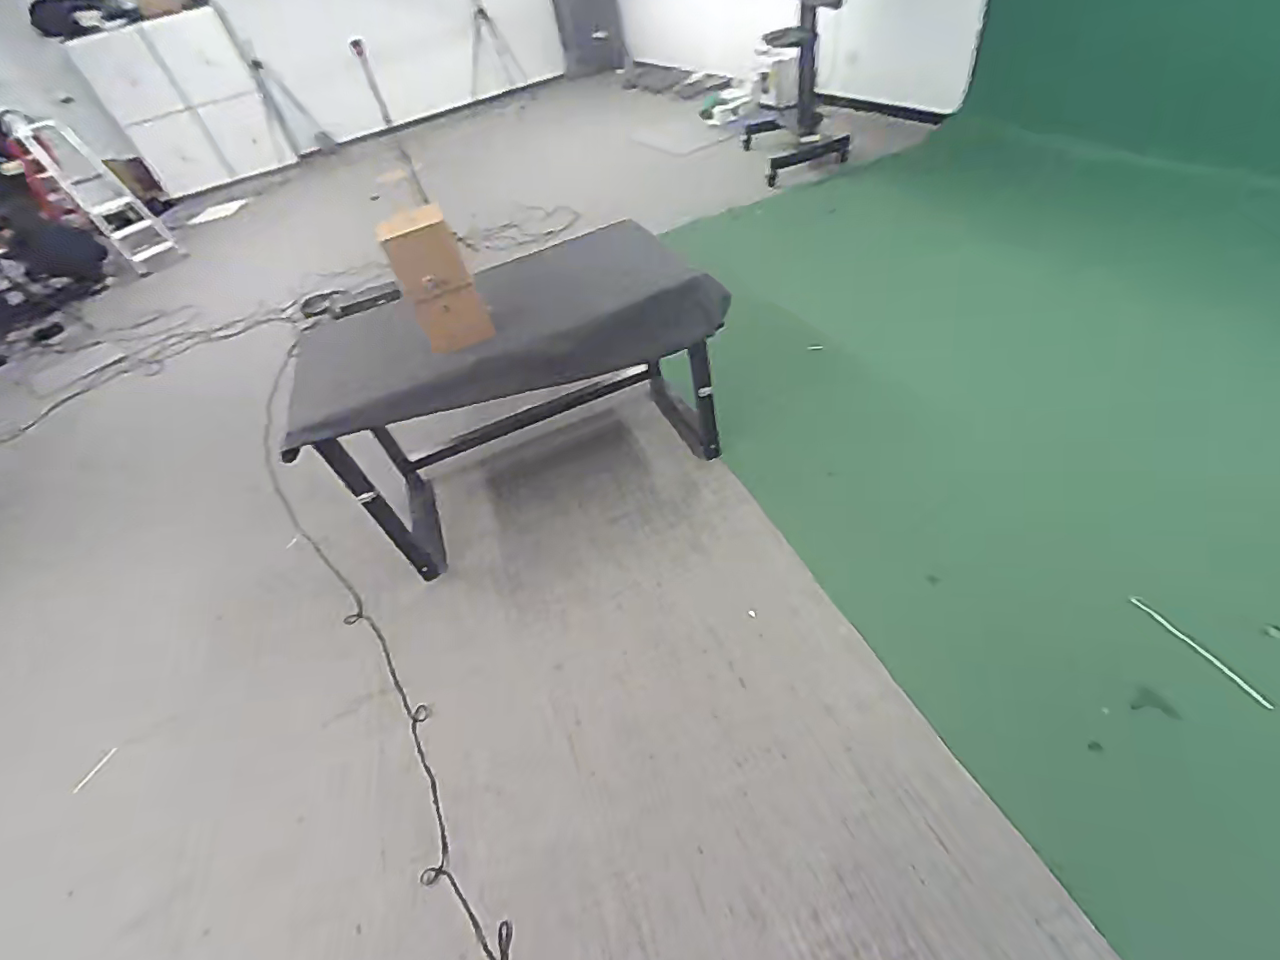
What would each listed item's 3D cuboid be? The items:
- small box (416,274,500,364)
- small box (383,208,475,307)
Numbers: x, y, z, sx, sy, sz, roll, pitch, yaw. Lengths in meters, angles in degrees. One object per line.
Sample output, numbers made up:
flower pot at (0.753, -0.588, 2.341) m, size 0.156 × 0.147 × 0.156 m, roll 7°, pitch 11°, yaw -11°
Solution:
small box at (-0.519, -0.456, 1.540) m, size 0.179 × 0.176 × 0.168 m, roll -21°, pitch 44°, yaw -7°
small box at (-0.551, -0.581, 1.417) m, size 0.168 × 0.176 × 0.179 m, roll -24°, pitch 45°, yaw -7°
